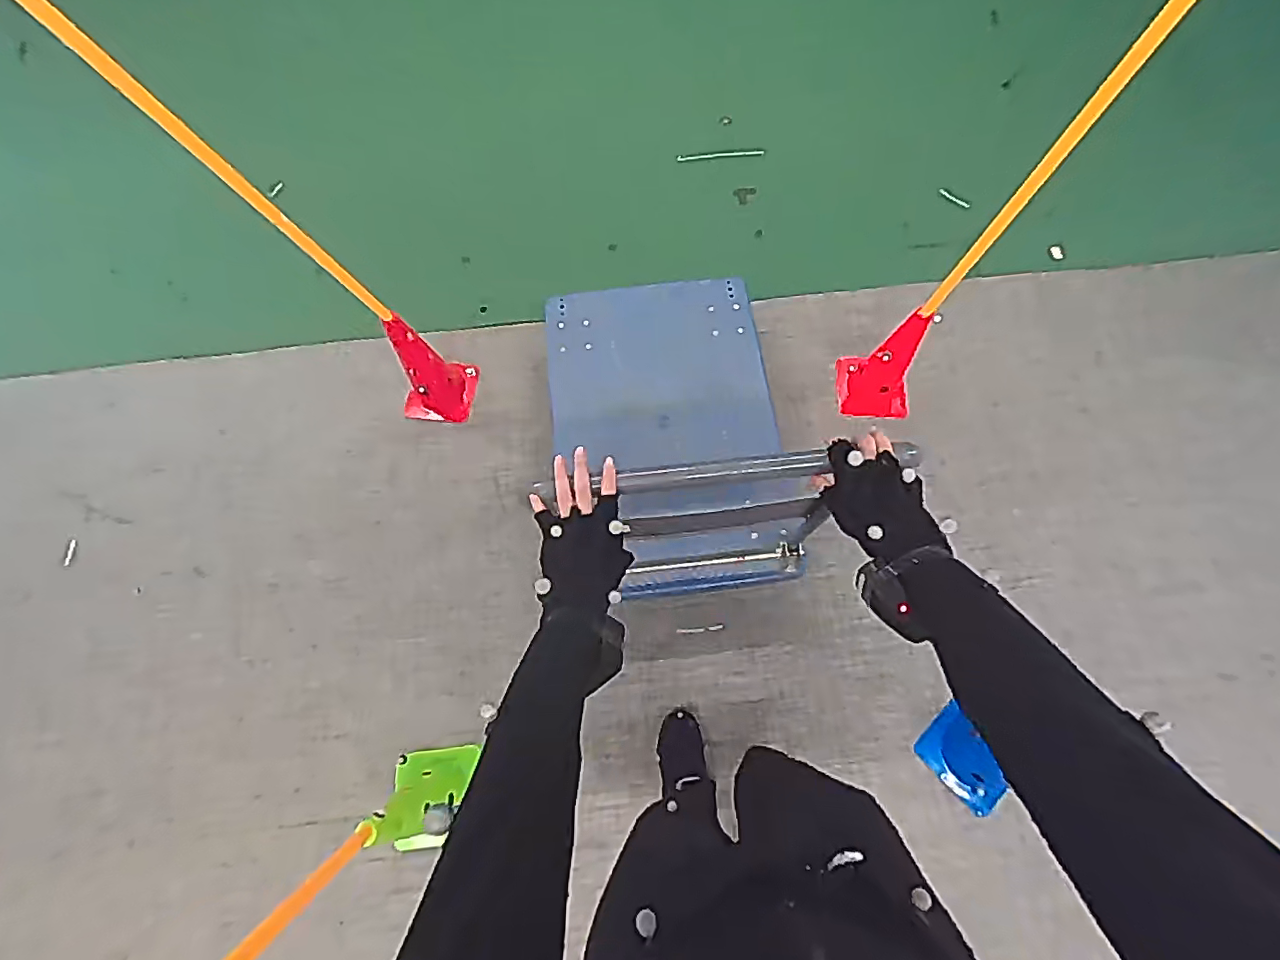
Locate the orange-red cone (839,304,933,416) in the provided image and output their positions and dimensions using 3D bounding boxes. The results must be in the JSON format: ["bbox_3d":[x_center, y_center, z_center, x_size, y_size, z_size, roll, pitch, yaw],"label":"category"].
[{"bbox_3d":[0.683,-0.338,1.441,0.198,0.360,0.199,4,71,4],"label":"orange-red cone"}]
